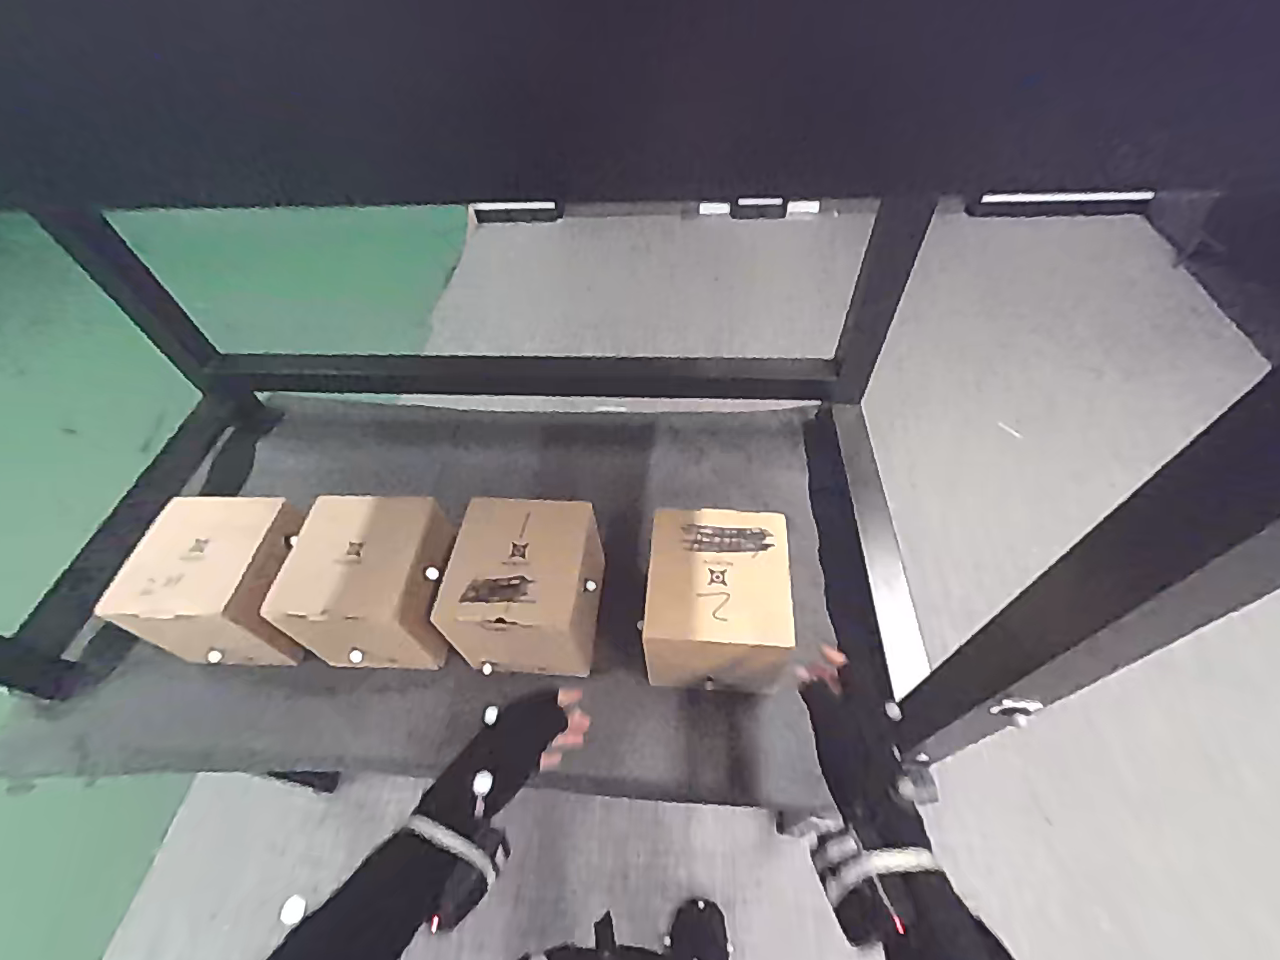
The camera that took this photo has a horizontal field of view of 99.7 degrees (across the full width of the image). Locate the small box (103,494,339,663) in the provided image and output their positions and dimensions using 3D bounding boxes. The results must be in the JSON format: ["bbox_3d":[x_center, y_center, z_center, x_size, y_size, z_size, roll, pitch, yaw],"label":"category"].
[{"bbox_3d":[-0.559,0.139,0.758,0.168,0.176,0.179,0,52,4],"label":"small box"}]
